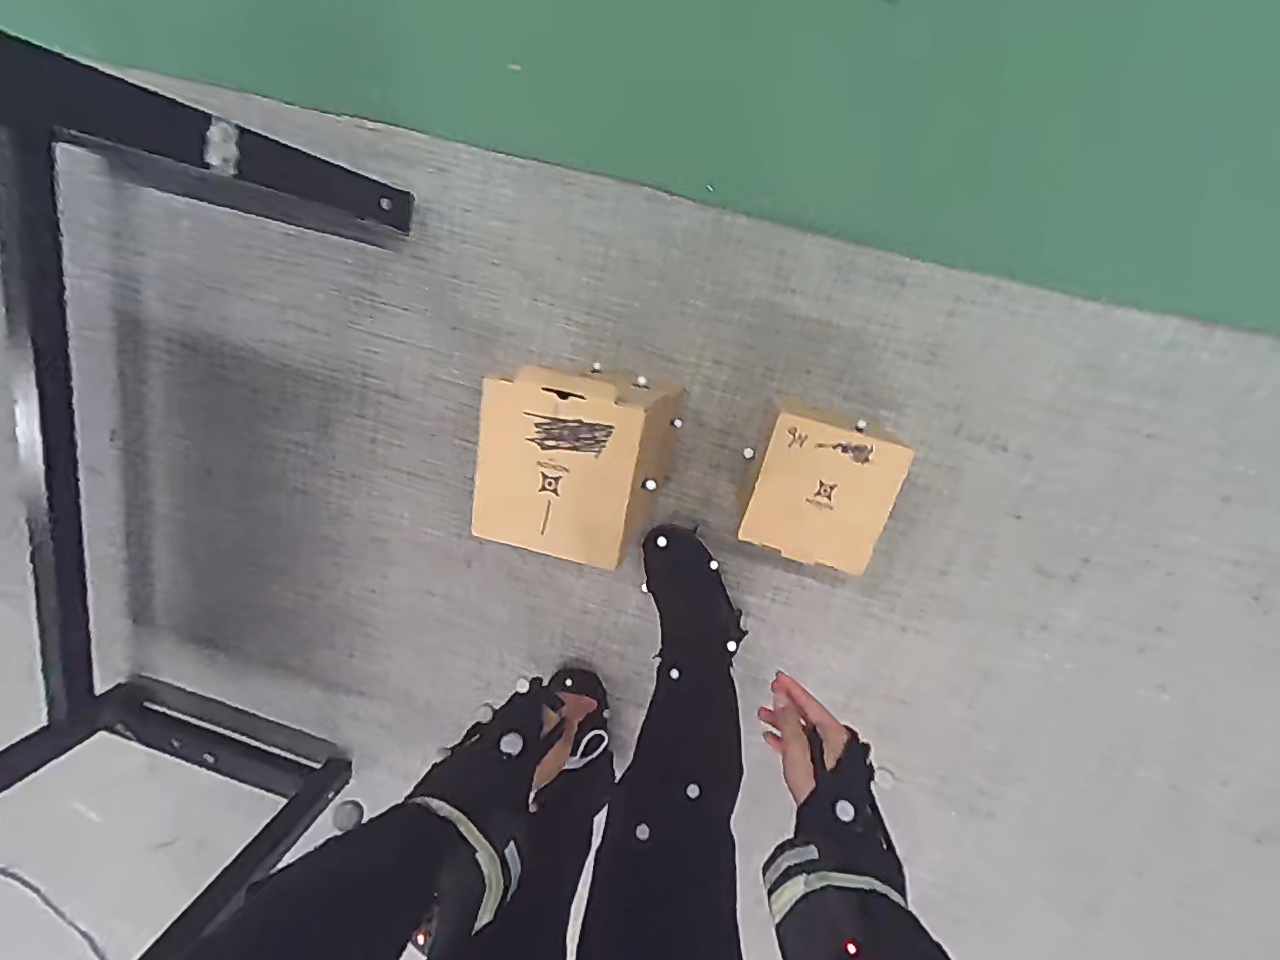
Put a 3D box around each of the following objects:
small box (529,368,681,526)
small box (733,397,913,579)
[{"bbox_3d":[-0.041,-0.058,0.774,0.168,0.176,0.179,14,107,8],"label":"small box"},{"bbox_3d":[0.235,0.001,0.738,0.168,0.176,0.179,18,109,5],"label":"small box"}]
